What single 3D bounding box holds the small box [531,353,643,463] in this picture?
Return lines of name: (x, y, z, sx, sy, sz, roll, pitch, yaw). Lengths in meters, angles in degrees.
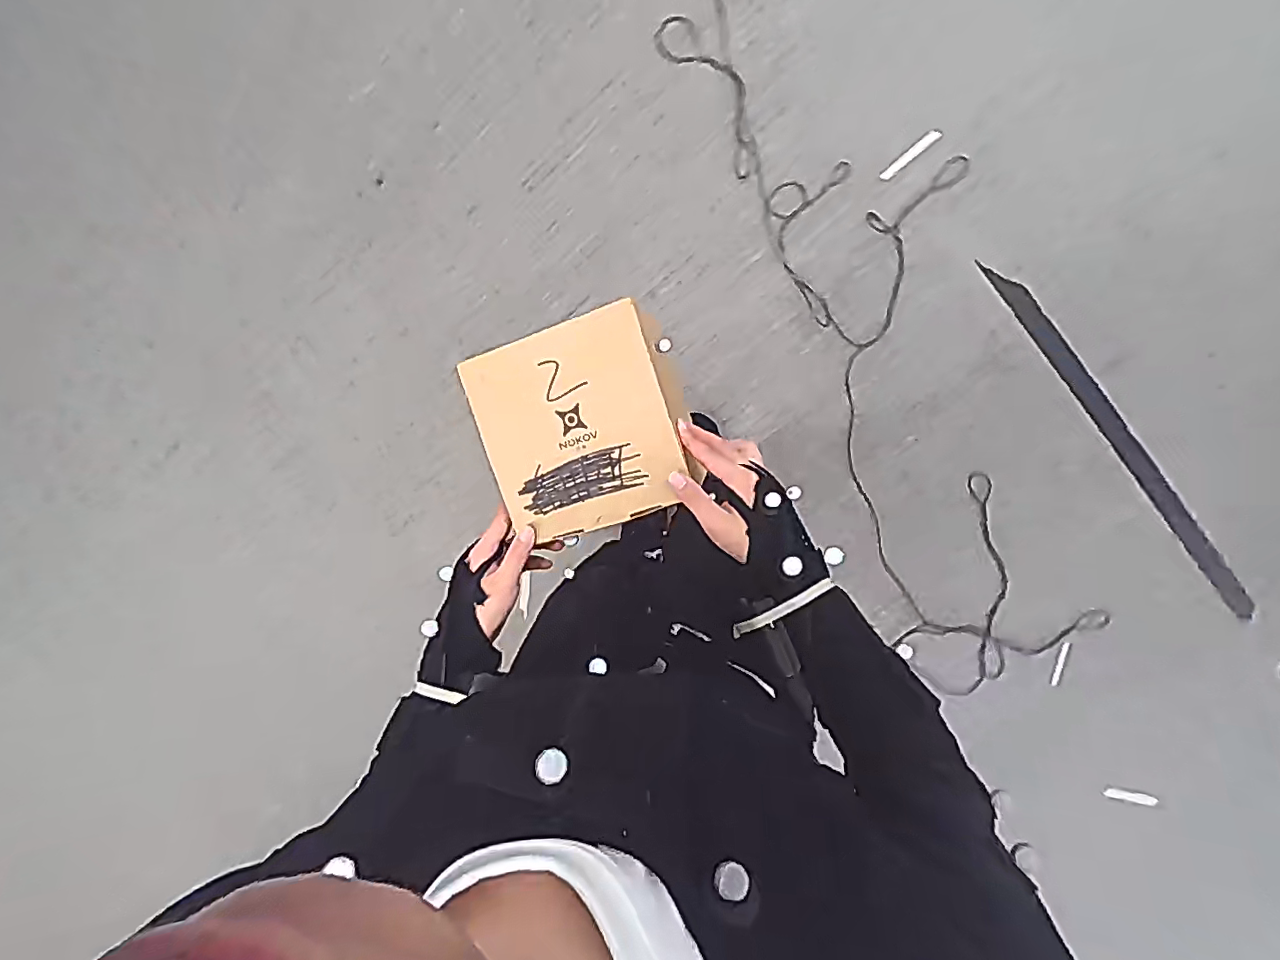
small box: (-0.111, -0.161, 1.221, 0.179, 0.176, 0.168, 44, 100, -3)
